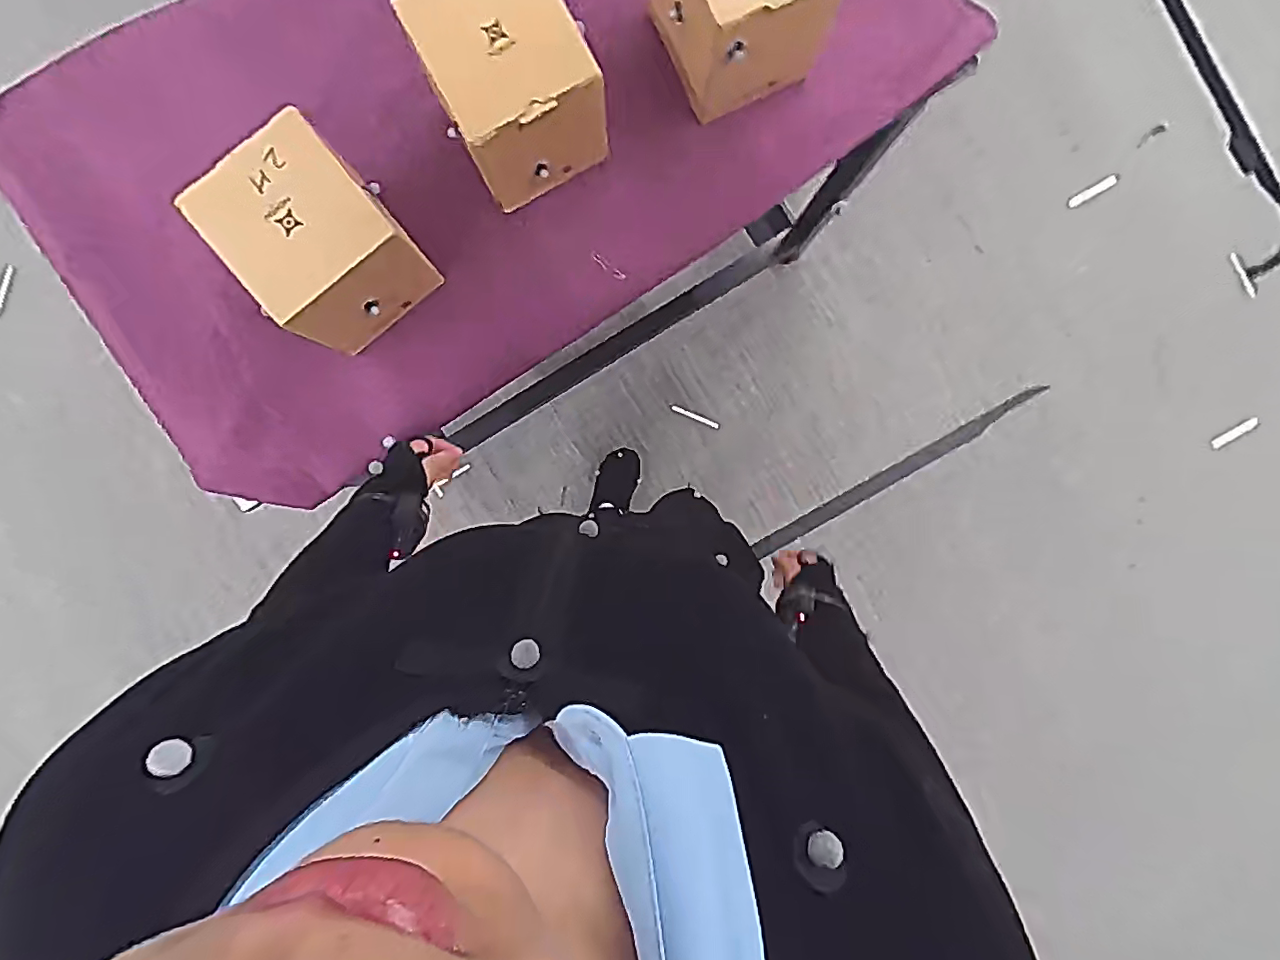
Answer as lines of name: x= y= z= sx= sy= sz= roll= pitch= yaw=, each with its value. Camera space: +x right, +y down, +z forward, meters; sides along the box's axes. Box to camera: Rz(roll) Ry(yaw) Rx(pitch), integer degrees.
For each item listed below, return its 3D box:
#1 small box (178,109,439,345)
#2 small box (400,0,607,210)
small box: x=-0.380 y=-0.284 z=0.660 sx=0.168 sy=0.176 sz=0.179 roll=-39 pitch=92 yaw=-1
small box: x=-0.152 y=-0.477 z=0.663 sx=0.168 sy=0.176 sz=0.179 roll=-29 pitch=93 yaw=-1
